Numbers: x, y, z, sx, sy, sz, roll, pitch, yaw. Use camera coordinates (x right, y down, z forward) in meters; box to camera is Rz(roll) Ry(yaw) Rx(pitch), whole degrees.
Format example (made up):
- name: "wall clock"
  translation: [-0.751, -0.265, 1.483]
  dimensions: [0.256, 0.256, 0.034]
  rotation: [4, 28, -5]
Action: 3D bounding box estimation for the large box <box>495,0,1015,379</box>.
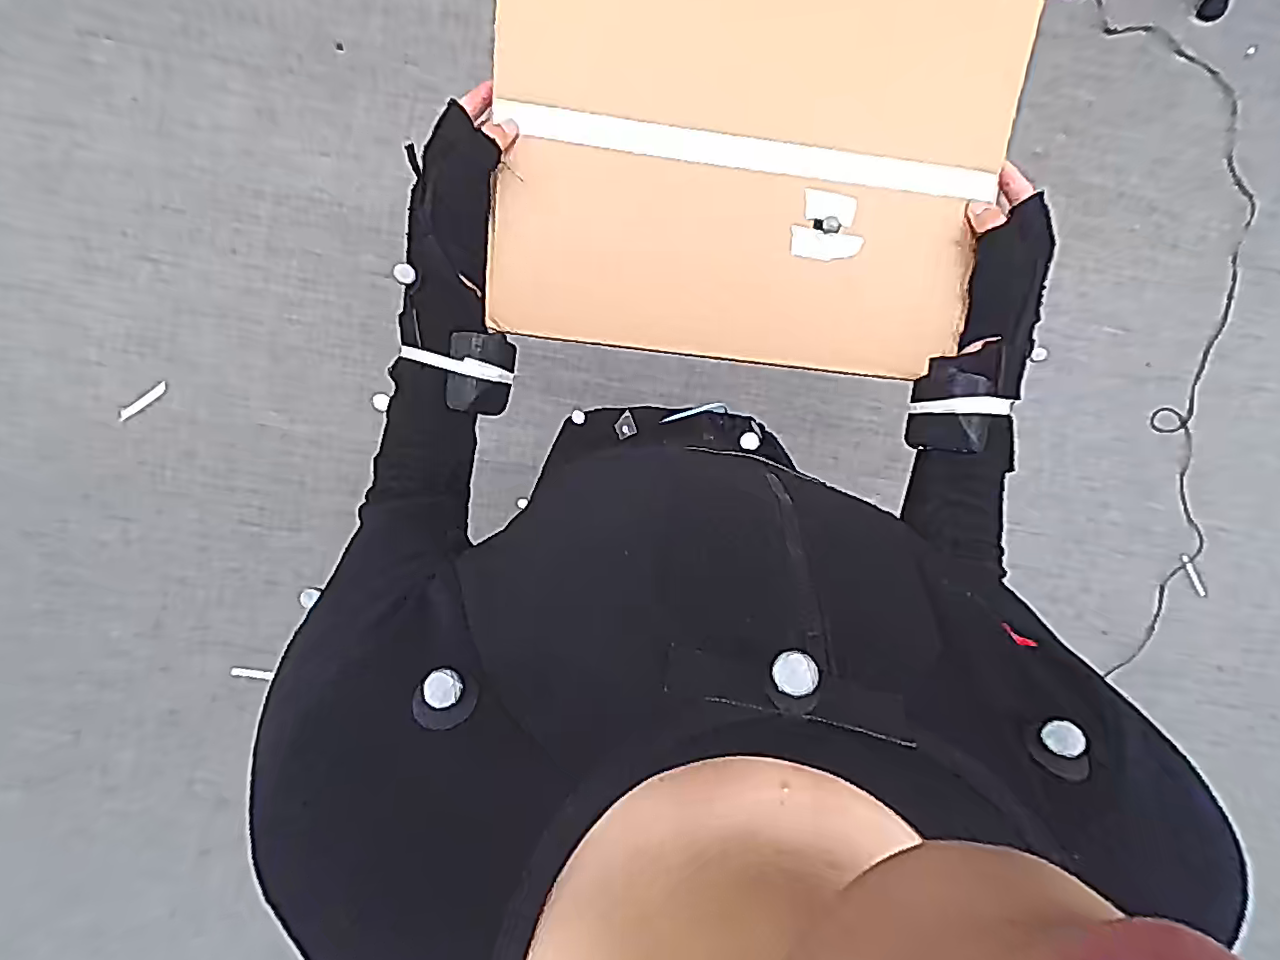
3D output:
- name: "large box"
  translation: [0.073, -0.292, 0.584]
  dimensions: [0.408, 0.320, 0.320]
  rotation: [5, 105, -6]
